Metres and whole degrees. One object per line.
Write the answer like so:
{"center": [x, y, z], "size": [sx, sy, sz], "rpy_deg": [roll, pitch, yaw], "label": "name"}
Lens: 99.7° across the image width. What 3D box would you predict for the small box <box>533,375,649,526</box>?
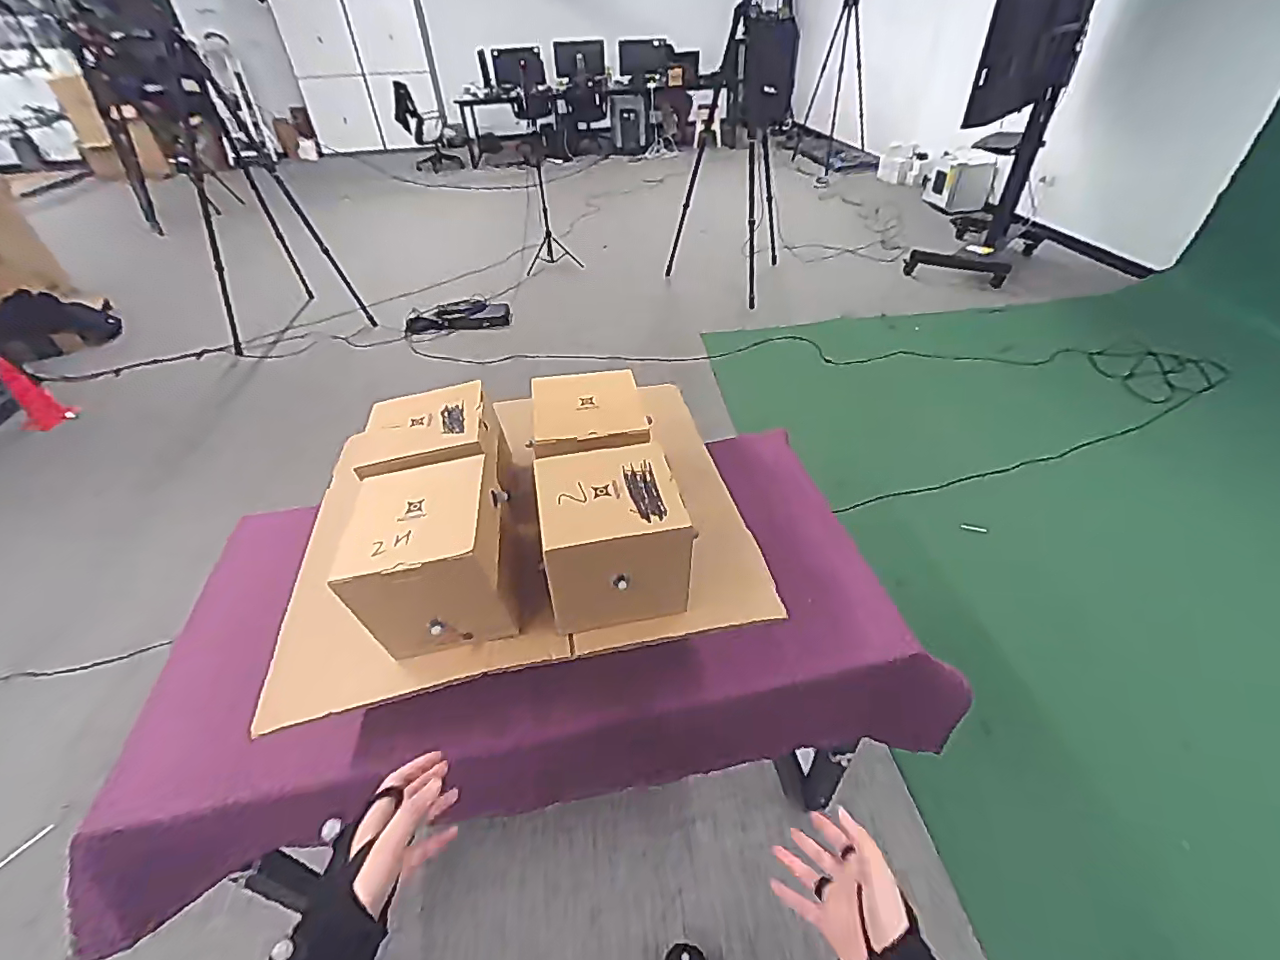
{"center": [-0.082, -0.049, 0.878], "size": [0.168, 0.176, 0.179], "rpy_deg": [-7, 42, -7], "label": "small box"}
